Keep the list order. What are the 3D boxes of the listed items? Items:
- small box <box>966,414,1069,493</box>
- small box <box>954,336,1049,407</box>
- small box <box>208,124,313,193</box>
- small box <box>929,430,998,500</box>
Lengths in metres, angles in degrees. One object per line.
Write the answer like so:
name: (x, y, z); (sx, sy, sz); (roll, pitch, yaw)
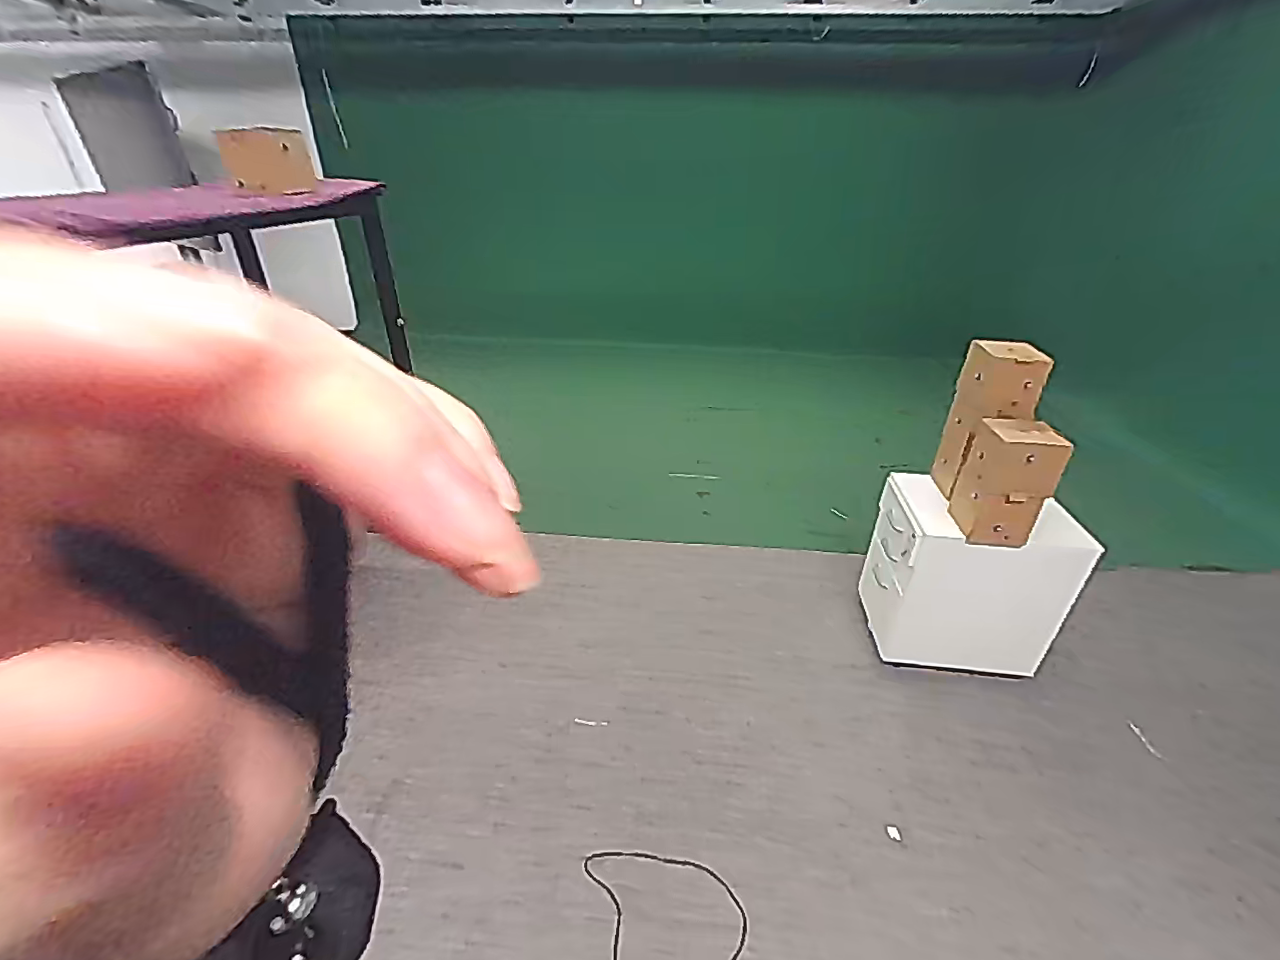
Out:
small box: (1.070, -0.077, 1.555); (0.179, 0.176, 0.168); (5, 31, 6)
small box: (1.107, -0.335, 1.670); (0.168, 0.176, 0.179); (6, 31, 5)
small box: (-1.129, -0.963, 1.626); (0.168, 0.176, 0.179); (2, 31, 6)
small box: (1.112, -0.052, 1.836); (0.168, 0.176, 0.179); (4, 32, 5)
